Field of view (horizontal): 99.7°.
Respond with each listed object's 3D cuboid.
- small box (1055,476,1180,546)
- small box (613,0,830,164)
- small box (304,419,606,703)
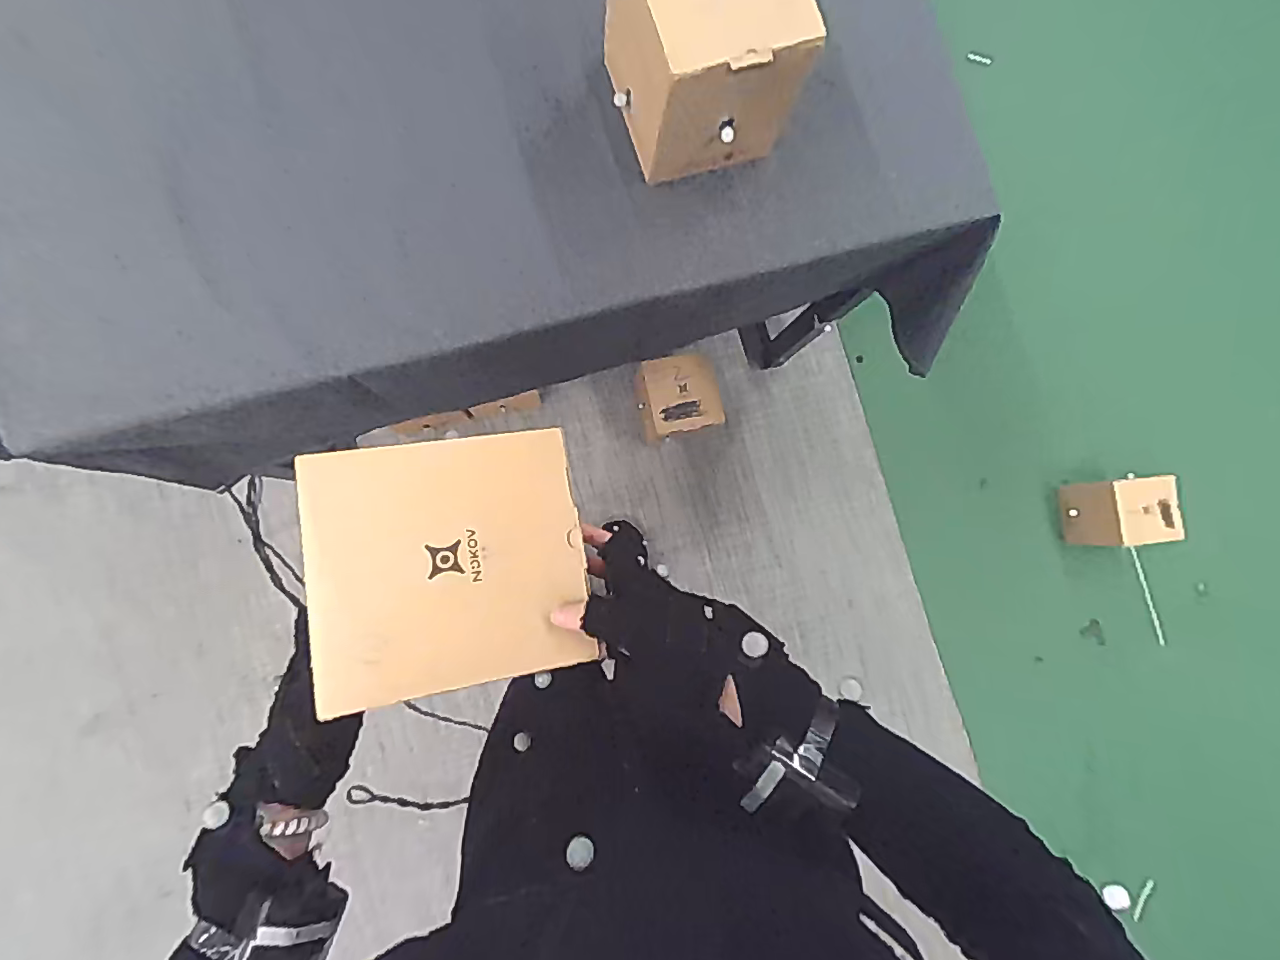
[{"bbox_3d":[1.261,0.082,1.438,0.179,0.176,0.168,-5,85,-6],"label":"small box"},{"bbox_3d":[0.075,-0.484,0.598,0.168,0.176,0.179,-18,88,-8],"label":"small box"},{"bbox_3d":[-0.137,0.063,0.427,0.179,0.176,0.168,-8,78,-16],"label":"small box"}]
